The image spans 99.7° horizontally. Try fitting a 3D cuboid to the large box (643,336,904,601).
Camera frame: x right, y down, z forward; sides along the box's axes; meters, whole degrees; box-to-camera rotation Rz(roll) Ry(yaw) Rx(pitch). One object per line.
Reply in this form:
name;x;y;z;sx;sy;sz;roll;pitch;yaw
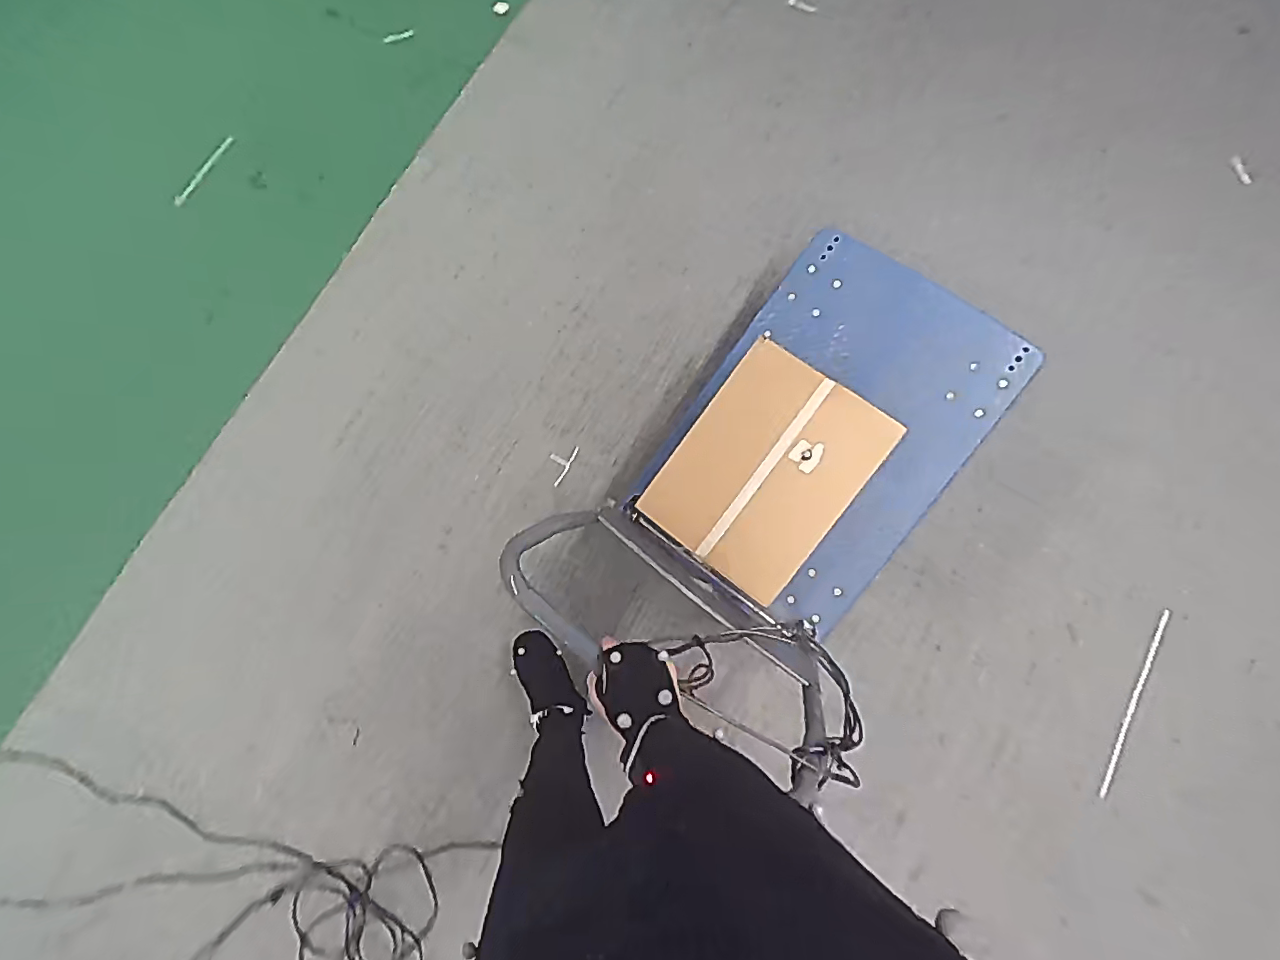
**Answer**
large box;0.269;-0.014;1.140;0.320;0.320;0.408;38;95;13
